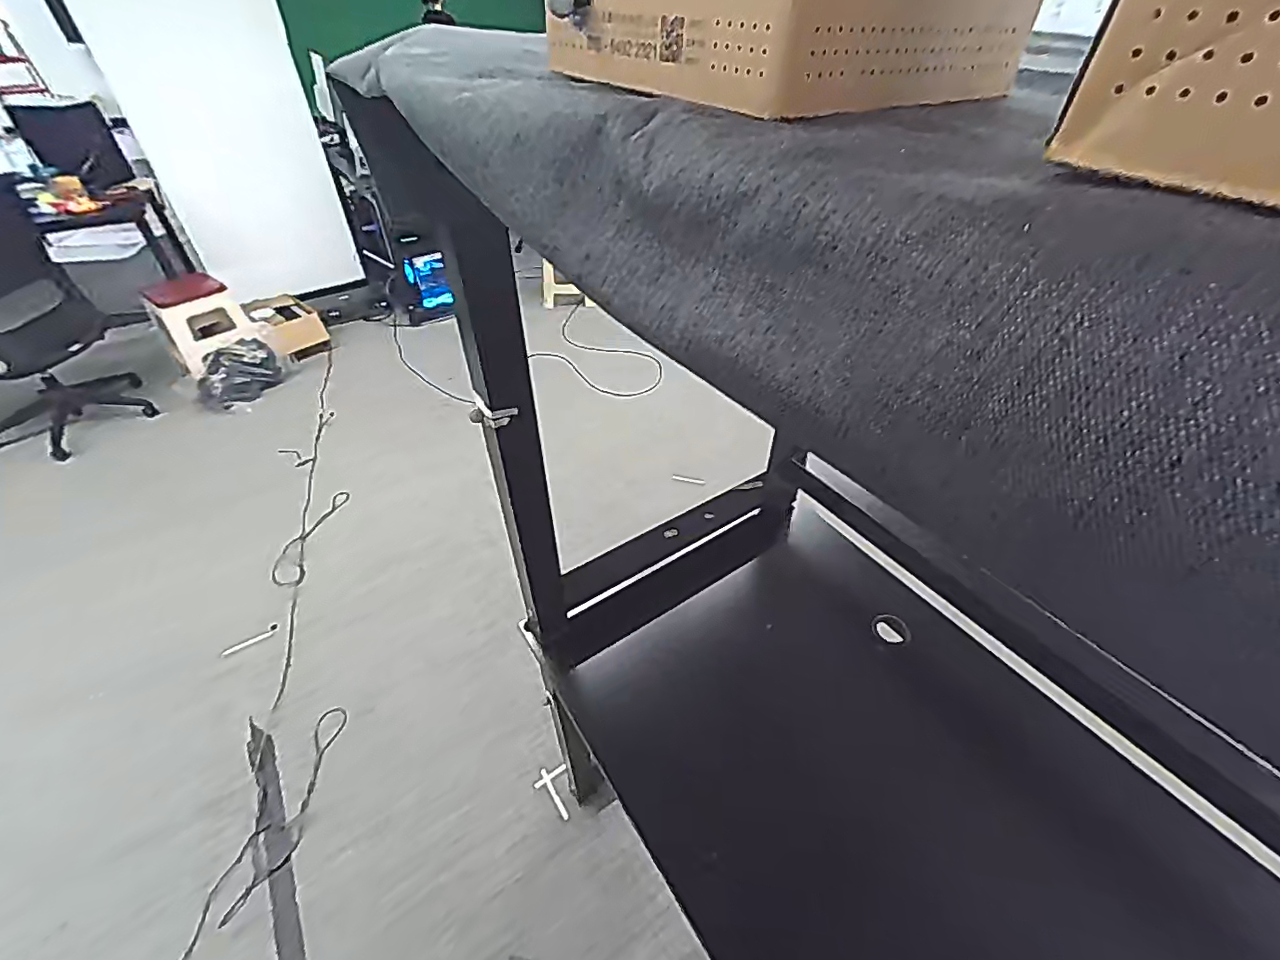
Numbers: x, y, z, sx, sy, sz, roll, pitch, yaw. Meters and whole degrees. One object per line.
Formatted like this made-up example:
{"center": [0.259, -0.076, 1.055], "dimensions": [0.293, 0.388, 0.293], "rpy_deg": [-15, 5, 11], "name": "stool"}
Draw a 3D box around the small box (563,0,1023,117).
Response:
{"center": [0.071, -0.266, 0.230], "dimensions": [0.179, 0.176, 0.168], "rpy_deg": [-25, 49, -28], "name": "small box"}
